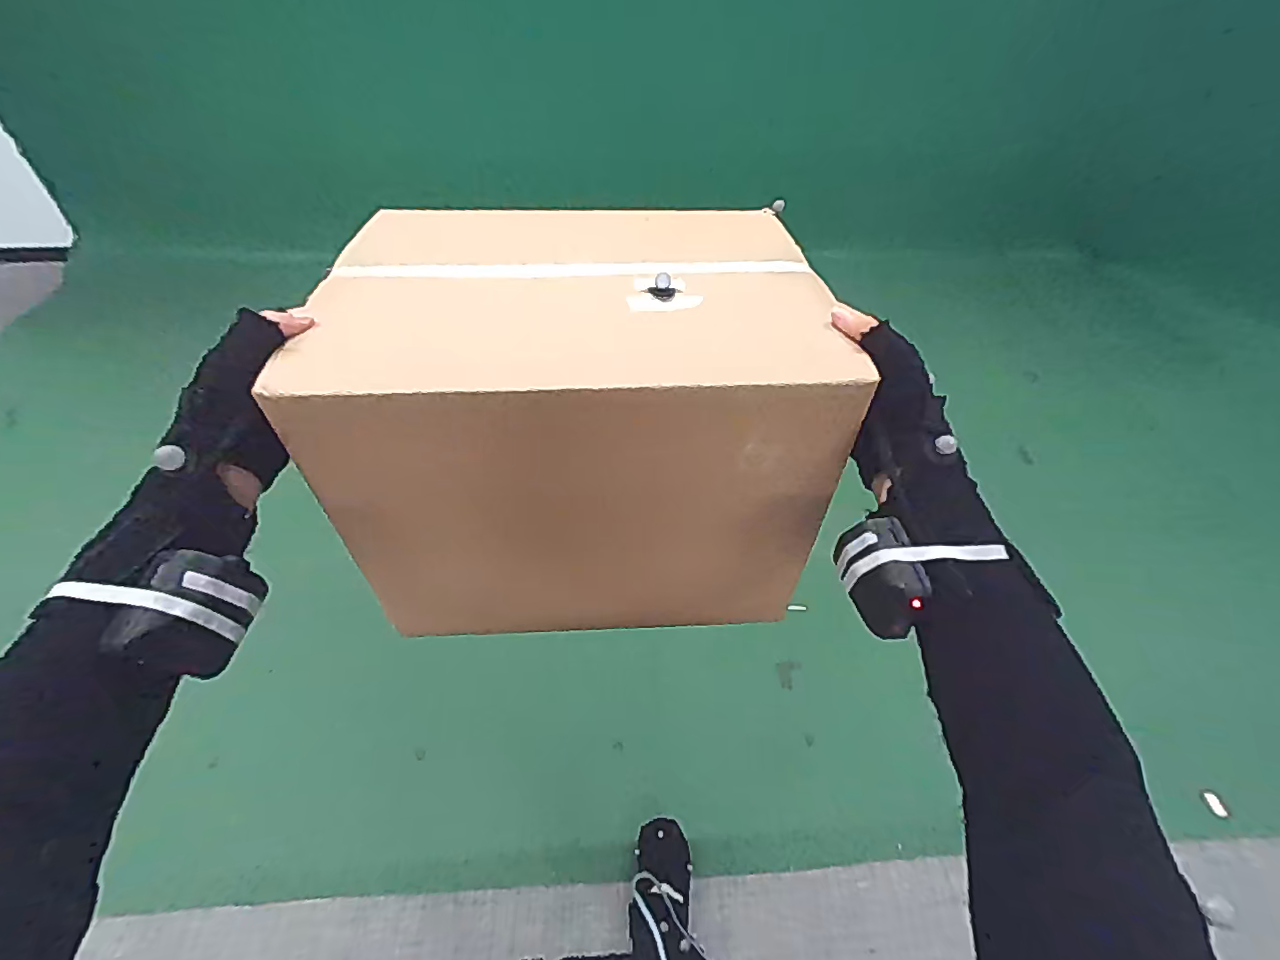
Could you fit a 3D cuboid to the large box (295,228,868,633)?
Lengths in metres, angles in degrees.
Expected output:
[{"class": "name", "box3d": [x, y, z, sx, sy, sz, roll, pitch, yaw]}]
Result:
[{"class": "large box", "box3d": [-0.050, -0.057, 0.578, 0.408, 0.320, 0.320, -2, 46, -4]}]
